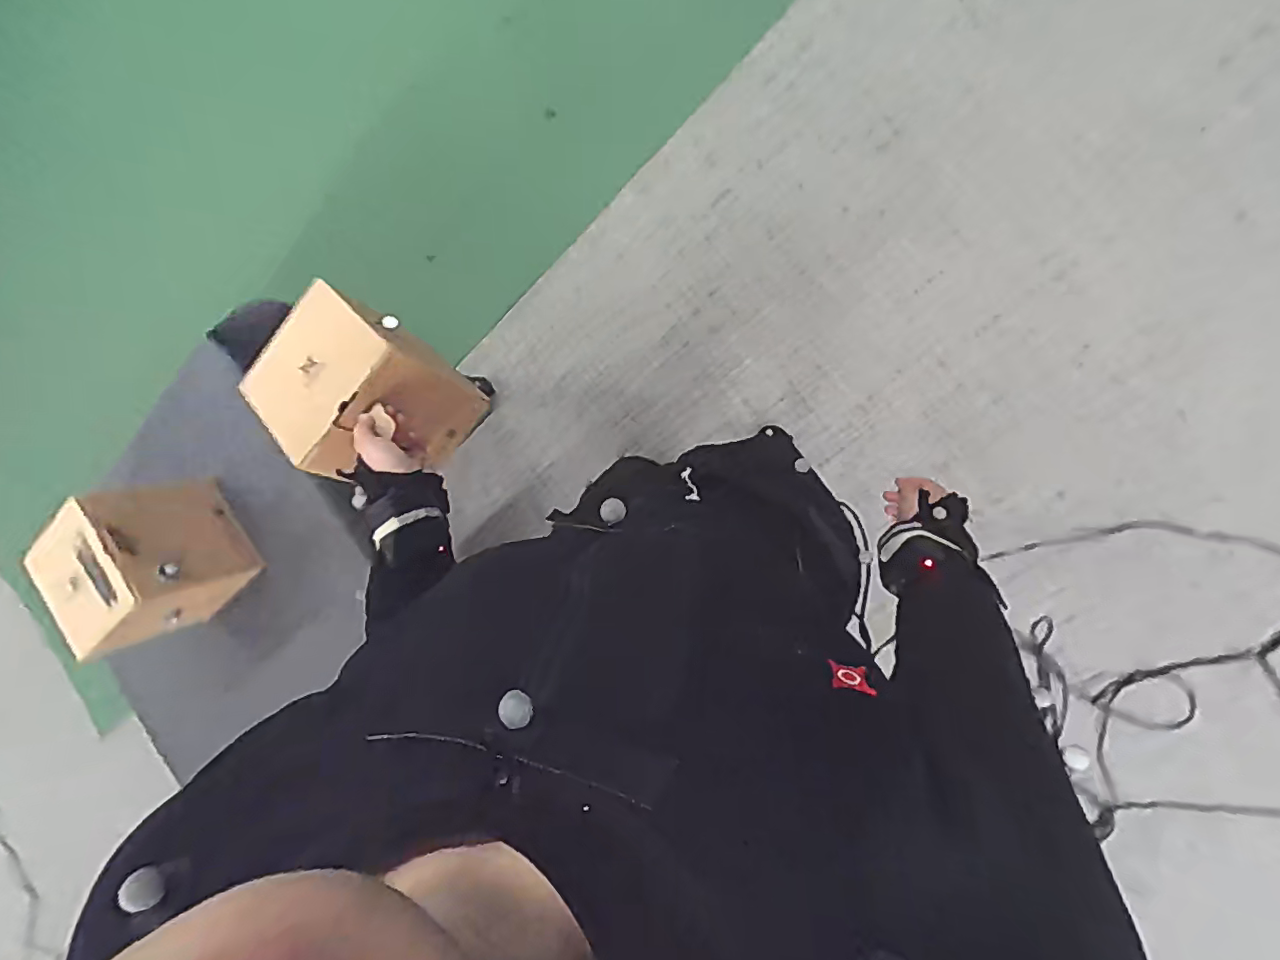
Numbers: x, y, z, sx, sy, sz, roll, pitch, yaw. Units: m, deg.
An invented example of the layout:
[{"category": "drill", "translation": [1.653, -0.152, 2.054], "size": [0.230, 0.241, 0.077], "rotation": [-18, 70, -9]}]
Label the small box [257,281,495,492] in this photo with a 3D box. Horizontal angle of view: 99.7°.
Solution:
[{"category": "small box", "translation": [-0.322, -0.106, 0.678], "size": [0.179, 0.176, 0.168], "rotation": [41, 94, 28]}]
